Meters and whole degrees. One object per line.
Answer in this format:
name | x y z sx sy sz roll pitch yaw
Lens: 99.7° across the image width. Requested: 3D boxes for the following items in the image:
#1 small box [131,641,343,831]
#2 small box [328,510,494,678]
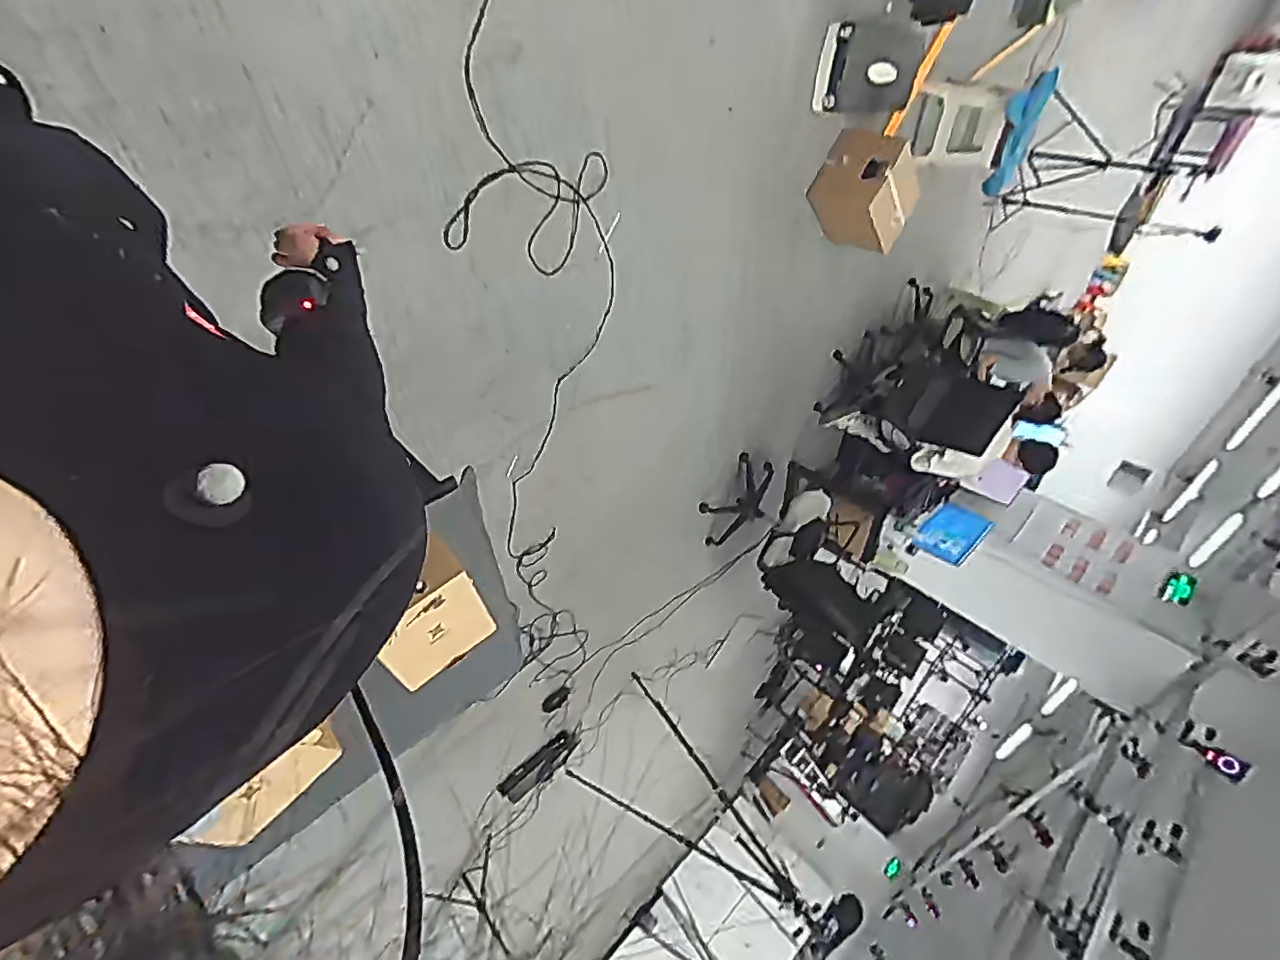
small box | -0.590 0.371 0.795 0.179 0.176 0.168 -44 144 -16
small box | -0.376 0.183 0.898 0.168 0.176 0.179 -37 142 -25
